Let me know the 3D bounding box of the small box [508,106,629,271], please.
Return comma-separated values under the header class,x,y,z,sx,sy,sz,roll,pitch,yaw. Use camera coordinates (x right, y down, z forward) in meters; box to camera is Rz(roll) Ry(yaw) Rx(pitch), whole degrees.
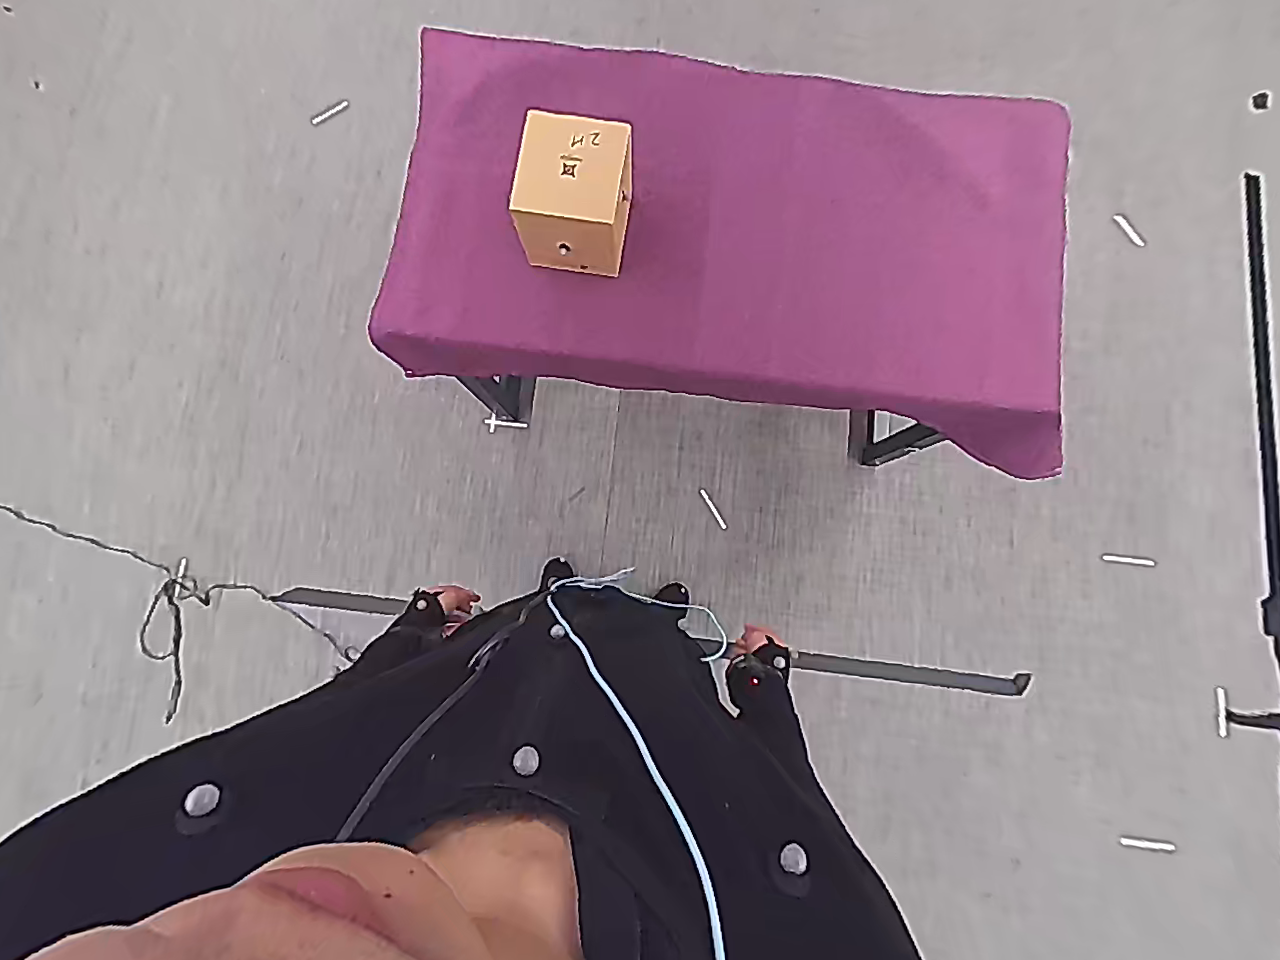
class,x,y,z,sx,sy,sz,roll,pitch,yaw
small box,-0.112,-0.482,0.919,0.168,0.176,0.179,9,83,0
